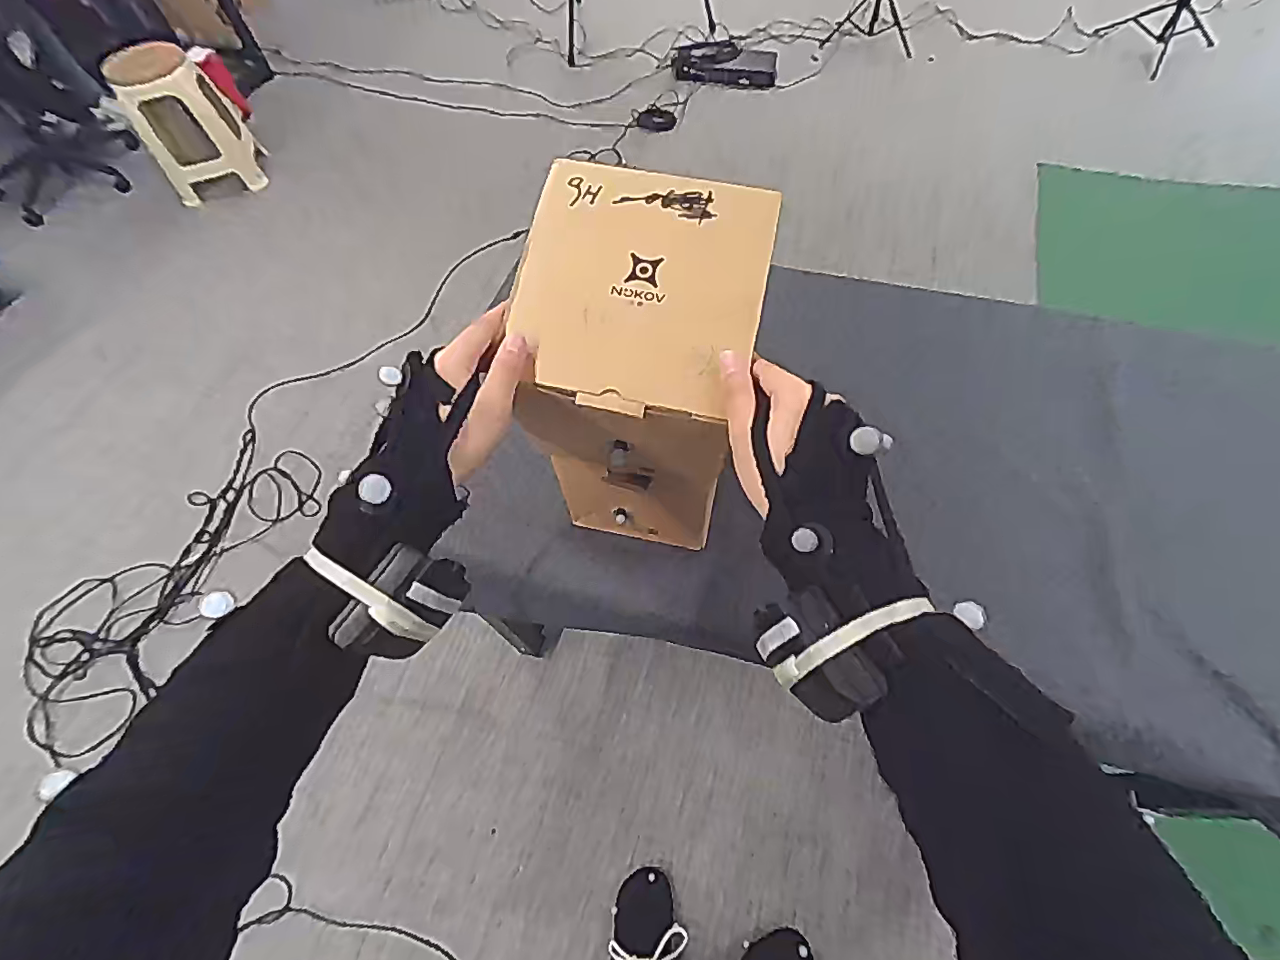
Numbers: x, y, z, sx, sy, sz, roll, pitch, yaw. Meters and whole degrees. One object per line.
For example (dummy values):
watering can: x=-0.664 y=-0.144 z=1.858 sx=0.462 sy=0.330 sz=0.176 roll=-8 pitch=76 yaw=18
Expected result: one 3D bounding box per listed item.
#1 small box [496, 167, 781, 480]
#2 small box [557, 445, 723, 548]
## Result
small box: x=0.006 y=-0.110 z=0.441 sx=0.168 sy=0.176 sz=0.179 roll=11 pitch=76 yaw=5
small box: x=0.016 y=-0.043 z=0.635 sx=0.168 sy=0.176 sz=0.179 roll=10 pitch=60 yaw=9
